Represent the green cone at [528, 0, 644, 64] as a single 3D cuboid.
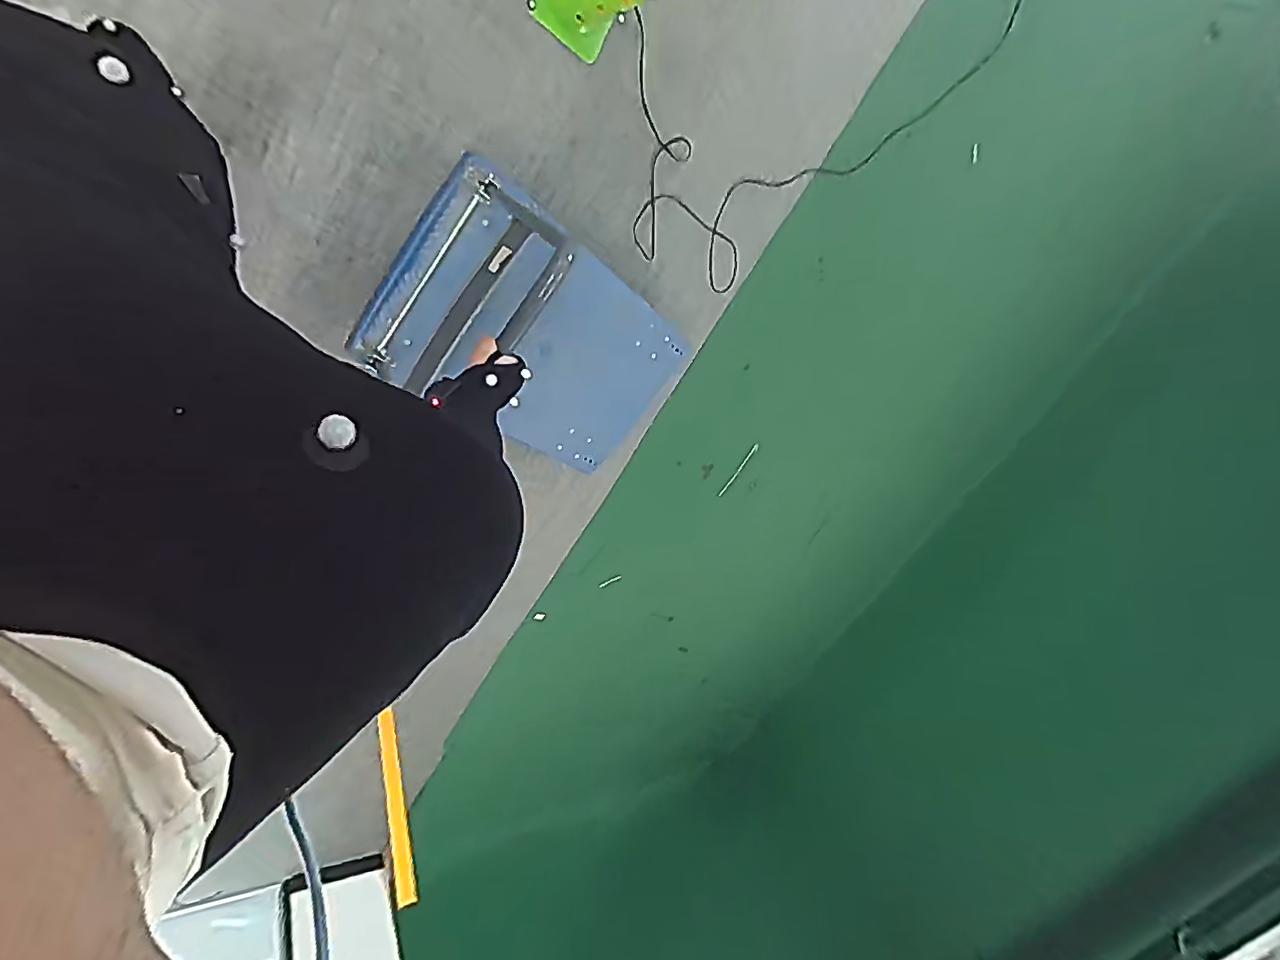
[{"bbox_3d":[-0.058,-1.028,1.134,0.200,0.368,0.202,12,115,-41],"label":"green cone"}]
